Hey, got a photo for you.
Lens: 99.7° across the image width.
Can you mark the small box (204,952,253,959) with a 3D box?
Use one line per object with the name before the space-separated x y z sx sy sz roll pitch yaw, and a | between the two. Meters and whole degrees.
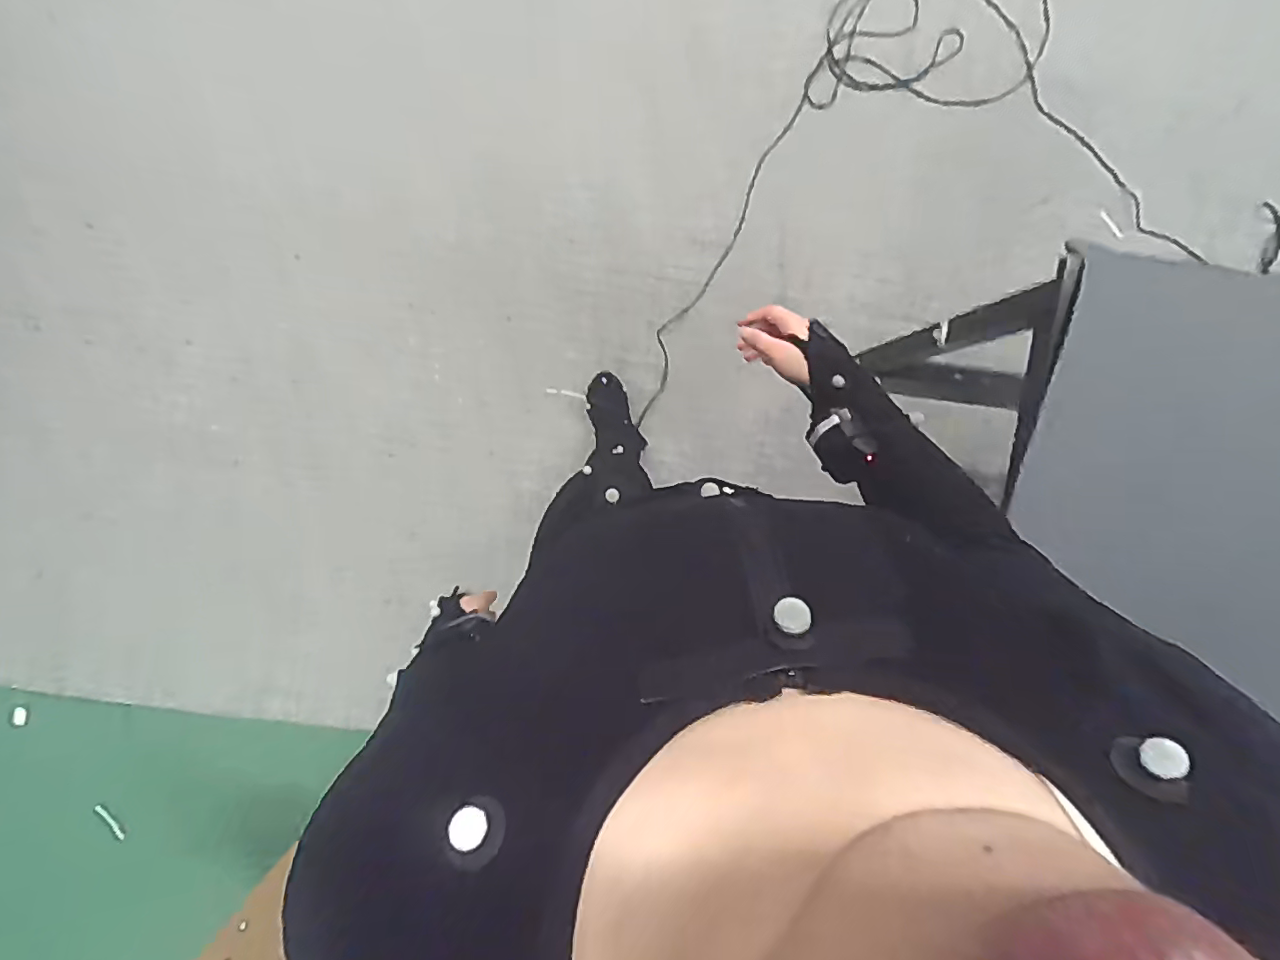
small box | -0.870 1.125 1.095 0.168 0.176 0.179 11 94 -2
